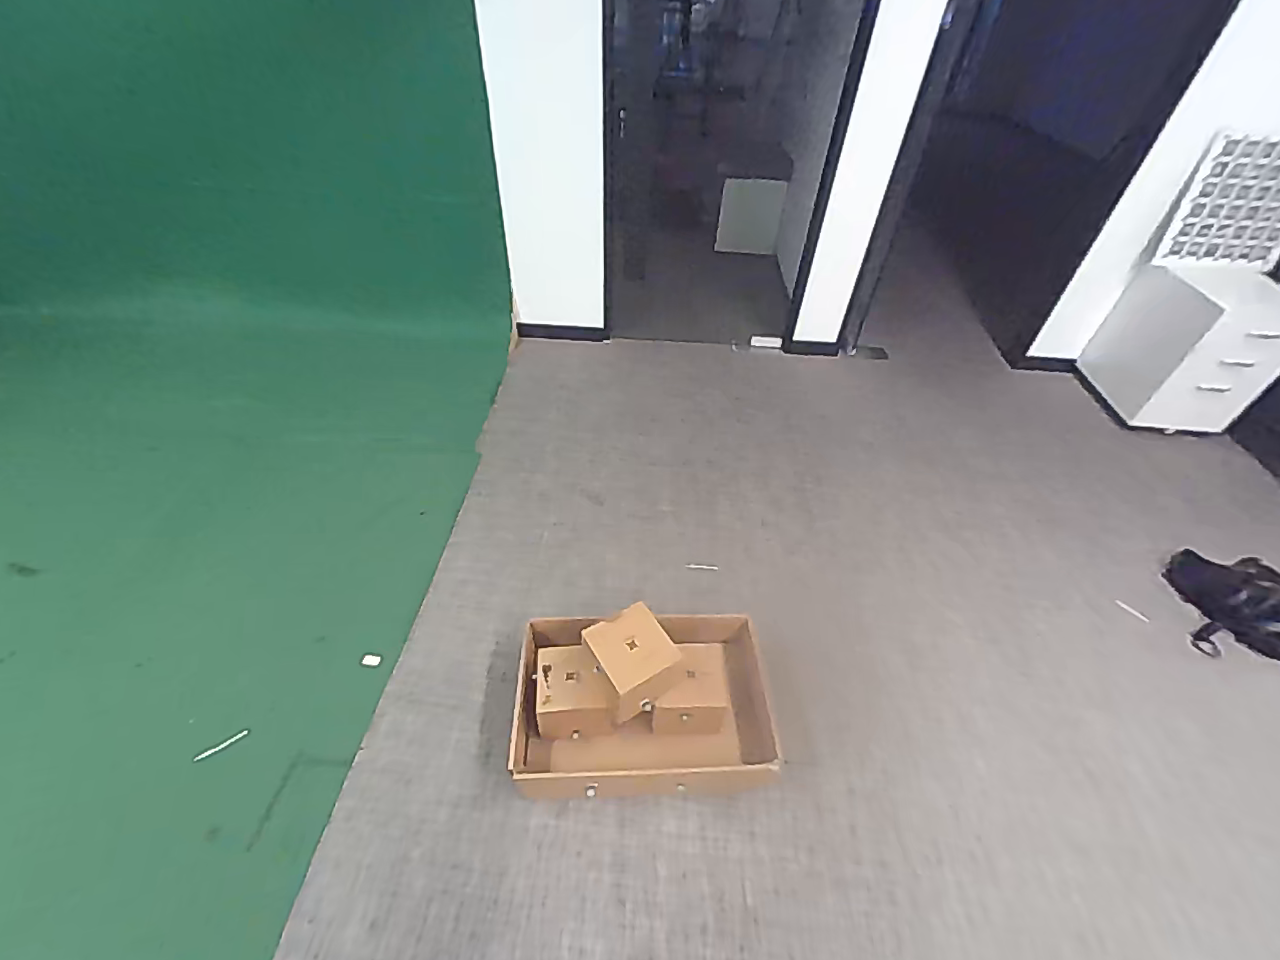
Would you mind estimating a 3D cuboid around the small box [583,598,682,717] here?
[{"bbox_3d":[-0.025,0.418,1.271,0.168,0.176,0.179,-23,52,-25],"label":"small box"}]

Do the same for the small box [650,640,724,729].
[{"bbox_3d":[0.112,0.529,1.395,0.179,0.176,0.168,0,45,-3],"label":"small box"}]

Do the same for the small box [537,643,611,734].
[{"bbox_3d":[-0.168,0.531,1.377,0.179,0.176,0.168,-1,44,-7],"label":"small box"}]
